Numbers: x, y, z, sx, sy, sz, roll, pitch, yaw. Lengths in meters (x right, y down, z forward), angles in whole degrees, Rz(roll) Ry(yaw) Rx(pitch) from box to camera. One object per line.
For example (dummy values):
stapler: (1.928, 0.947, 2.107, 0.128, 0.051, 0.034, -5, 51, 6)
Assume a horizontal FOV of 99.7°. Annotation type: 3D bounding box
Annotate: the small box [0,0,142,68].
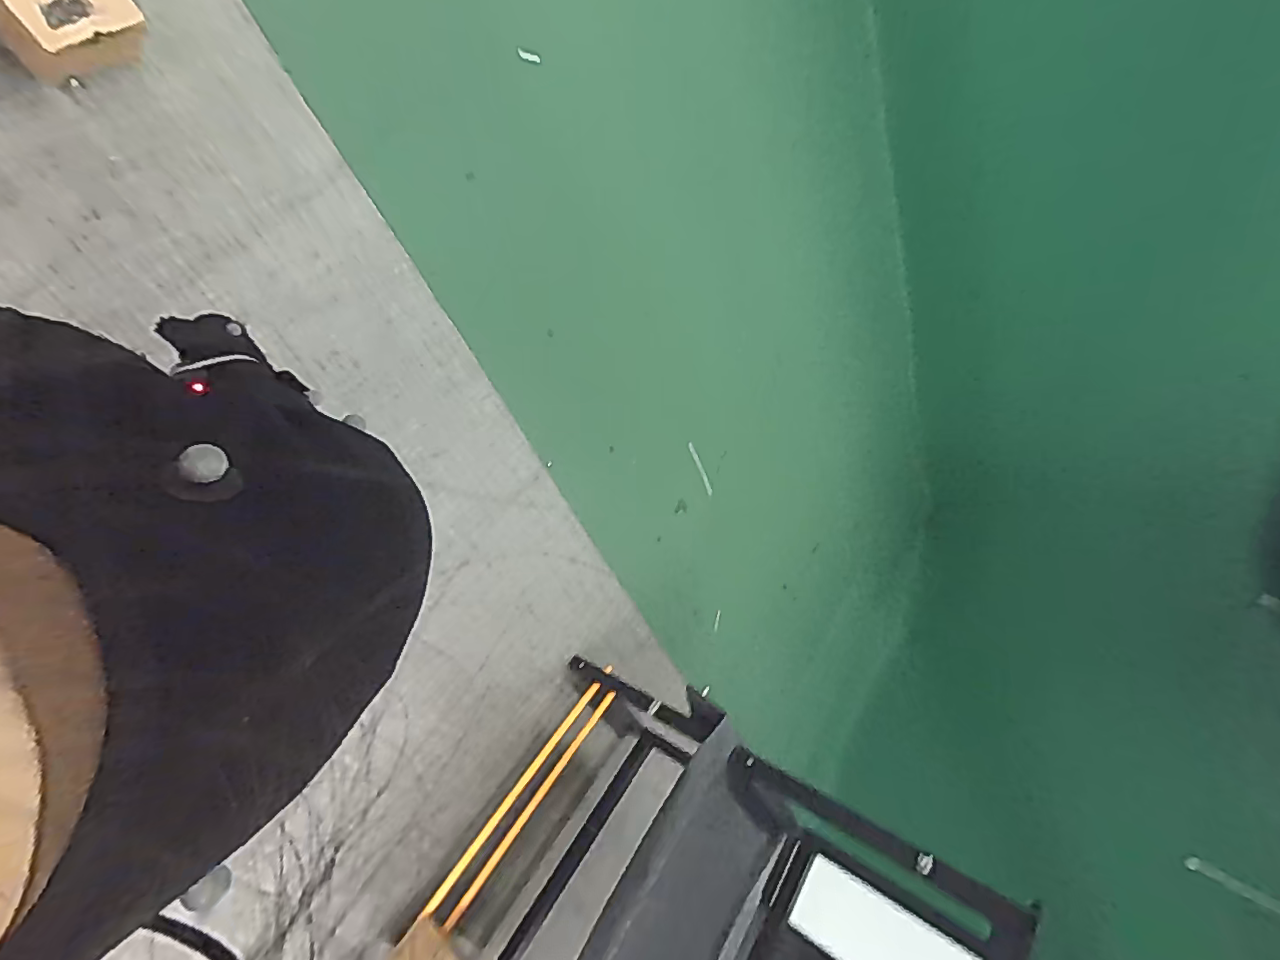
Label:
small box: (-0.983, -0.819, 0.891, 0.168, 0.176, 0.179, -50, 130, -27)
